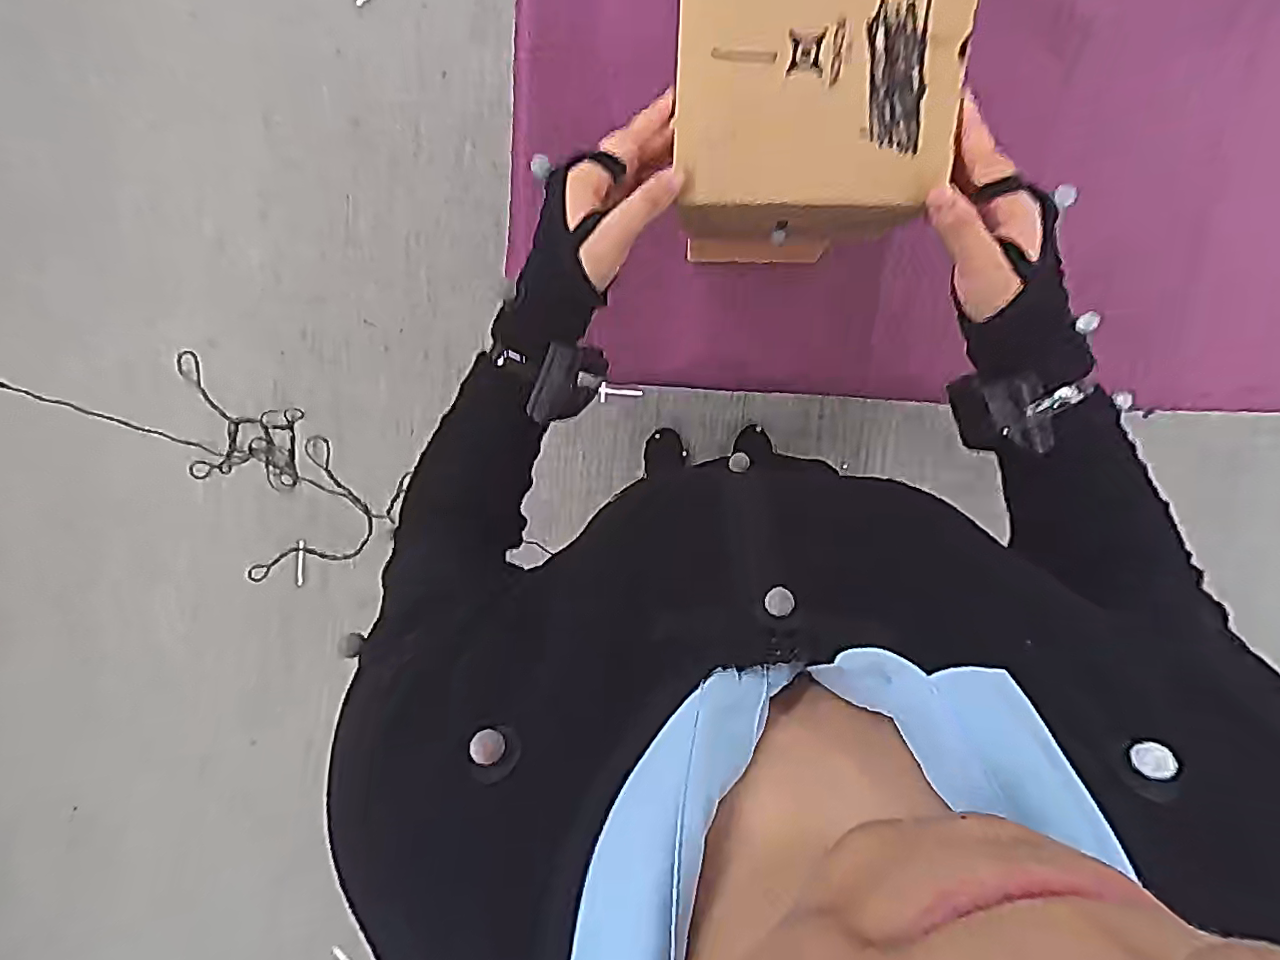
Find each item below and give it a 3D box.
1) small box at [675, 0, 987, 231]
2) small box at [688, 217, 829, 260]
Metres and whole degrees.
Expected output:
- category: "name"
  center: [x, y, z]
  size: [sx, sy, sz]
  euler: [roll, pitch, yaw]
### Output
- category: "small box"
  center: [0.123, -0.286, 0.399]
  size: [0.179, 0.176, 0.168]
  euler: [5, 108, 8]
- category: "small box"
  center: [0.148, -0.374, 0.649]
  size: [0.179, 0.176, 0.168]
  euler: [2, 95, 4]
